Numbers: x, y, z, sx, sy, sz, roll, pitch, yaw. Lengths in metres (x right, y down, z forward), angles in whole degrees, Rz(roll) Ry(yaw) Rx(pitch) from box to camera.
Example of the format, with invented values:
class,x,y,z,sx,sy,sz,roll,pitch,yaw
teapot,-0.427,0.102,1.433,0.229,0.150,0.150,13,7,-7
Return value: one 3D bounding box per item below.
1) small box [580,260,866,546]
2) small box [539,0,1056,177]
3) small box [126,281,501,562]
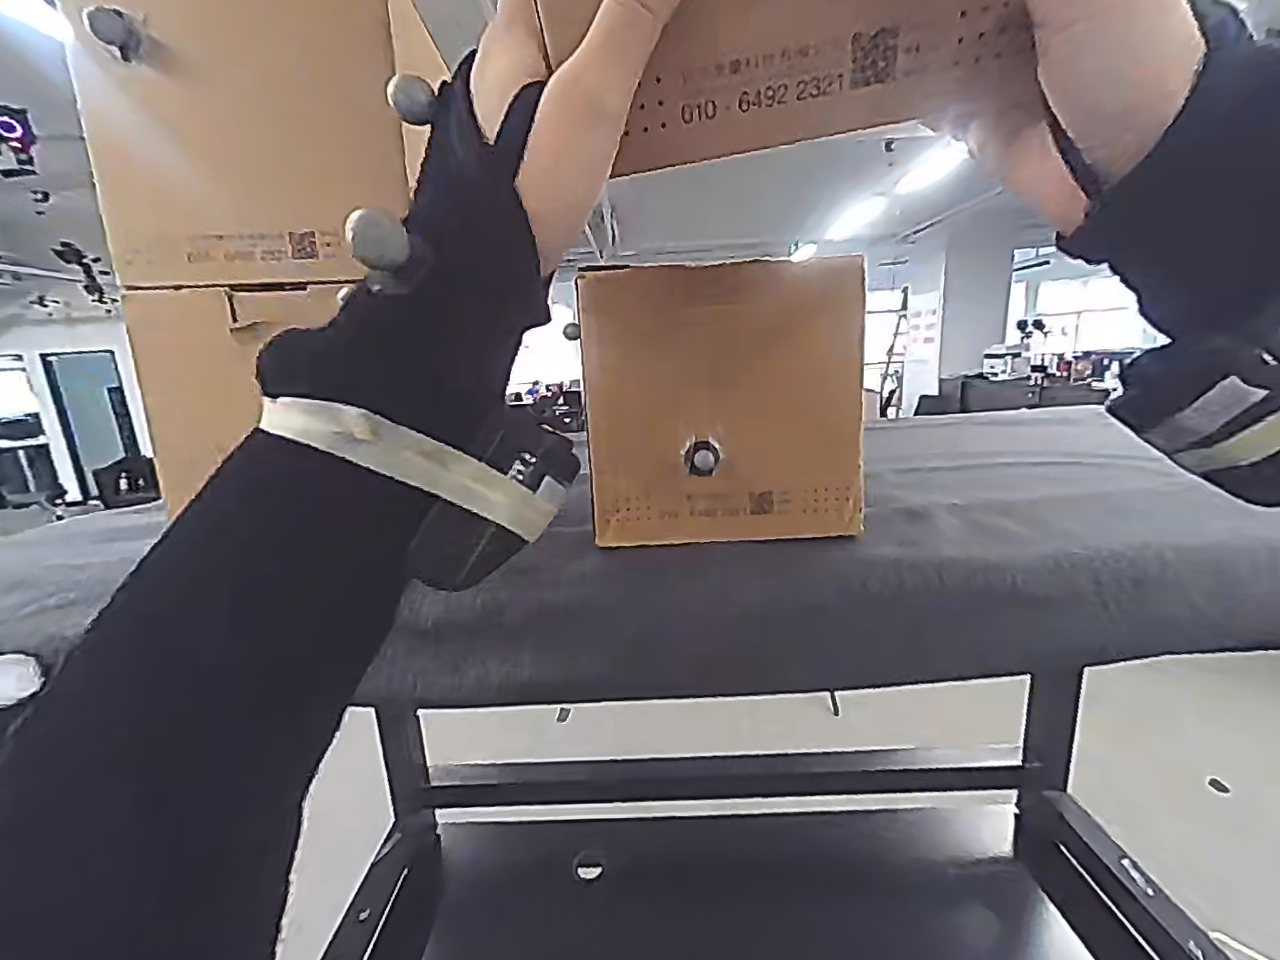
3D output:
class,x,y,z,sx,sy,sz,roll,pitch,yaw
small box,0.051,-0.055,0.402,0.168,0.176,0.179,-3,11,1
small box,0.044,-0.231,0.212,0.168,0.176,0.179,-8,36,7
small box,-0.206,-0.041,0.400,0.168,0.176,0.179,-2,10,-1
